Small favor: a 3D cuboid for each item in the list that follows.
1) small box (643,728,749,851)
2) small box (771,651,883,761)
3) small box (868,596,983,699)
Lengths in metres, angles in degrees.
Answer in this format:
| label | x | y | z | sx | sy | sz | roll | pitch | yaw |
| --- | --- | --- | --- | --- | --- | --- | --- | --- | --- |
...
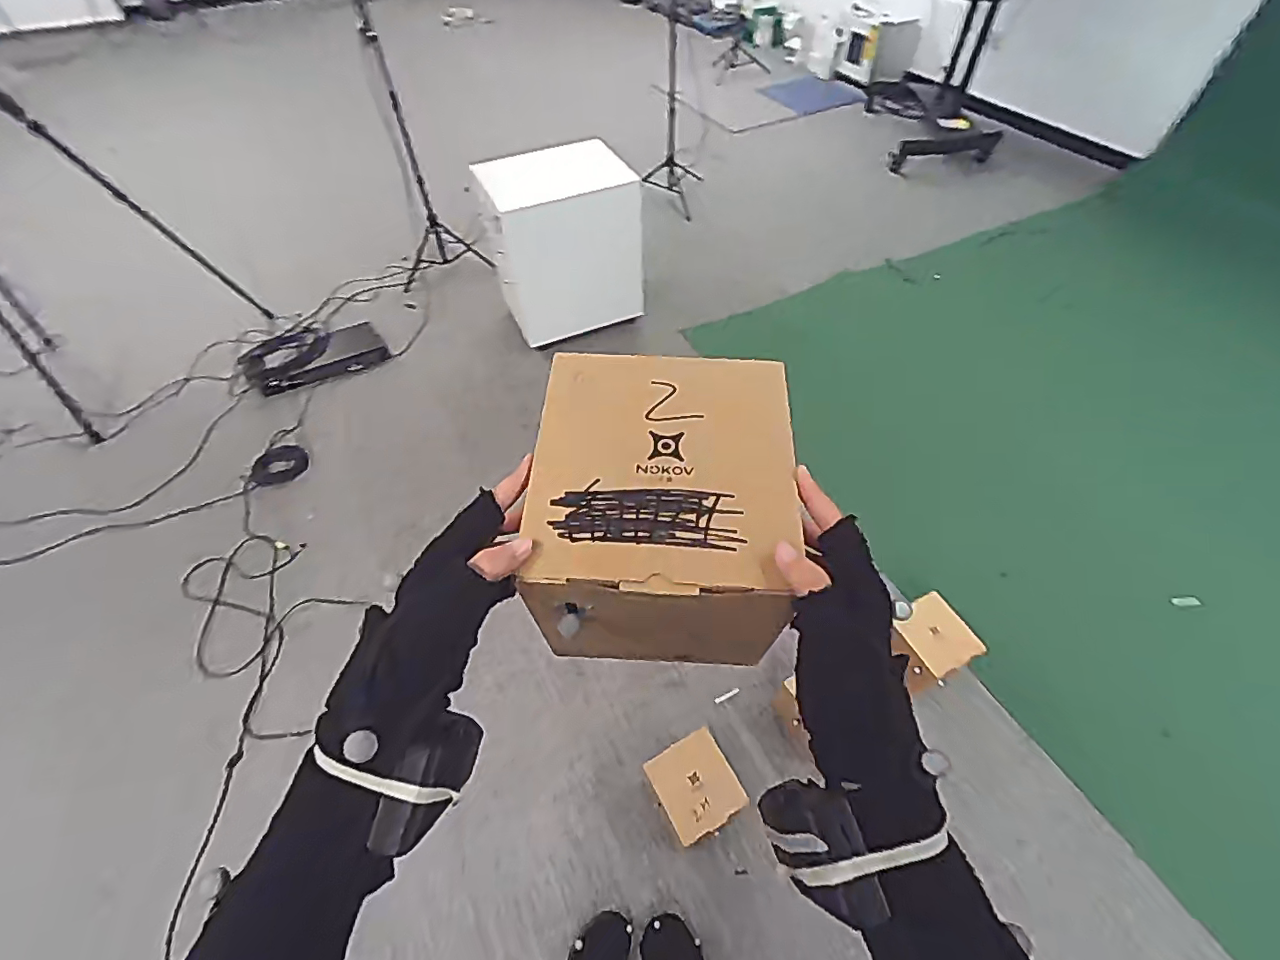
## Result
| label | x | y | z | sx | sy | sz | roll | pitch | yaw |
| --- | --- | --- | --- | --- | --- | --- | --- | --- | --- |
| small box | 0.117 | 0.698 | 1.214 | 0.168 | 0.176 | 0.179 | -25 | 57 | -17 |
| small box | 0.448 | 0.559 | 1.323 | 0.168 | 0.176 | 0.179 | -26 | 56 | -19 |
| small box | 0.734 | 0.441 | 1.417 | 0.168 | 0.176 | 0.179 | -22 | 56 | -15 |
